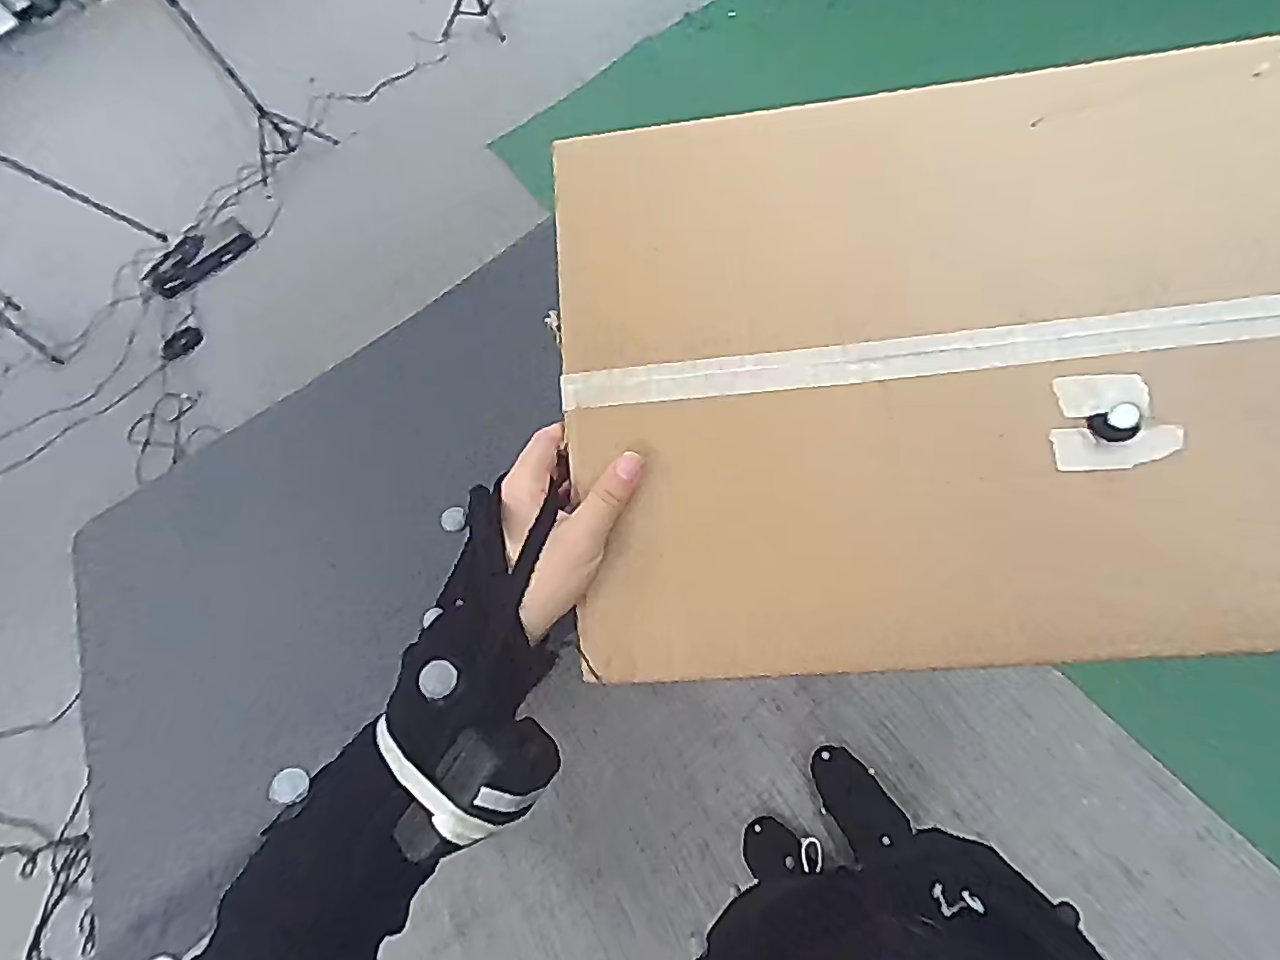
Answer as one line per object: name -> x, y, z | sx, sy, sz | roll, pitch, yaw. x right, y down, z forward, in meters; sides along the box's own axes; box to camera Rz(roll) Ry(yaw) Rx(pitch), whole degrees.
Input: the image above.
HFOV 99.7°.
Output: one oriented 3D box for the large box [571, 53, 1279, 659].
large box -> 0.177, -0.049, 0.440 | 0.408, 0.320, 0.320 | -5, 81, 5
